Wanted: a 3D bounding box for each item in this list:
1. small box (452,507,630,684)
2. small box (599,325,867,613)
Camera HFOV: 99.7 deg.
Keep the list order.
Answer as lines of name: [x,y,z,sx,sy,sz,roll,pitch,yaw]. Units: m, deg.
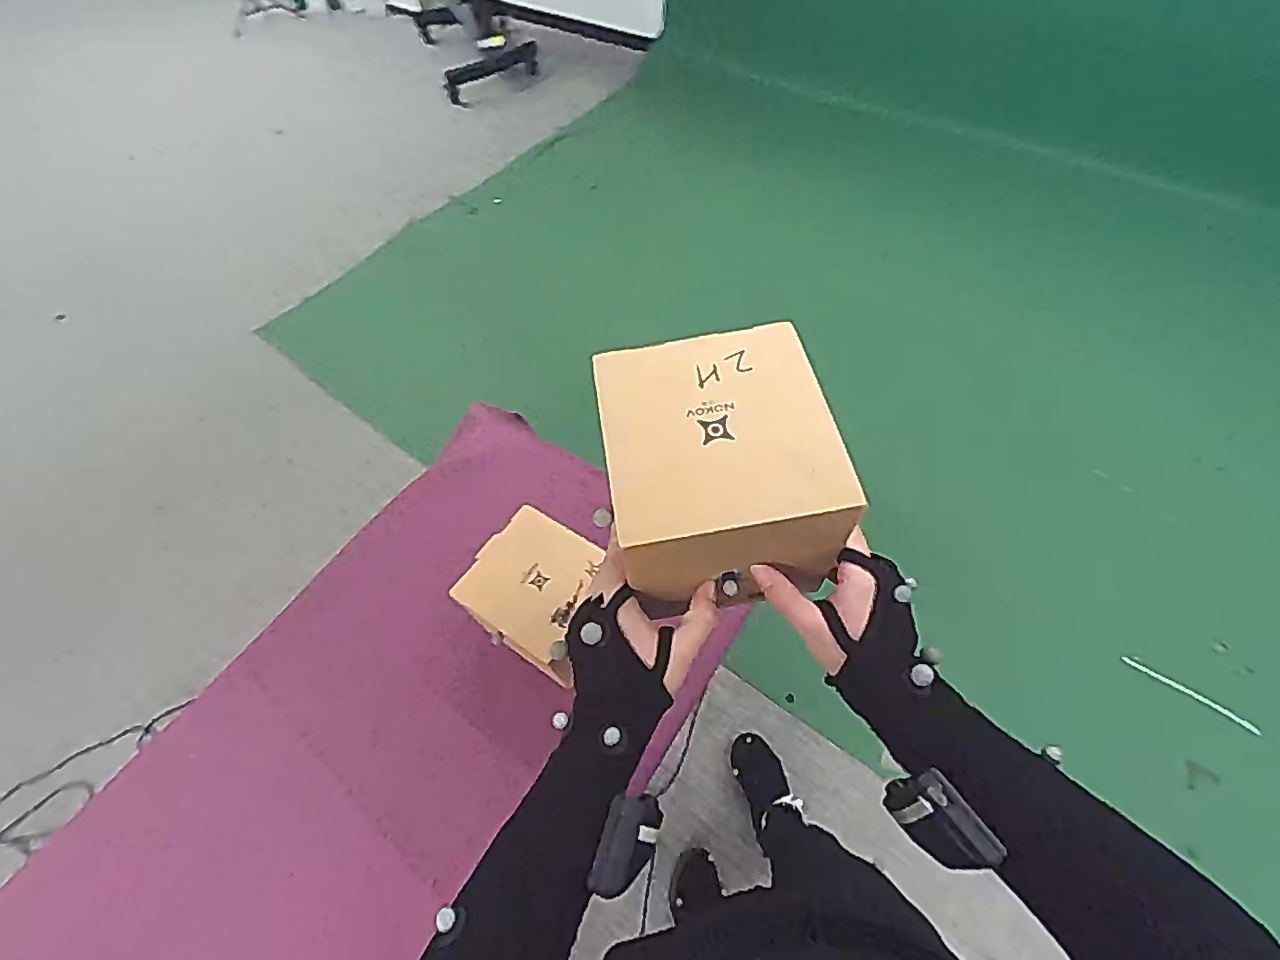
small box: [-0.134,0.175,0.797,0.179,0.176,0.168,28,65,20]
small box: [0.064,0.003,0.455,0.168,0.176,0.179,-9,58,1]
